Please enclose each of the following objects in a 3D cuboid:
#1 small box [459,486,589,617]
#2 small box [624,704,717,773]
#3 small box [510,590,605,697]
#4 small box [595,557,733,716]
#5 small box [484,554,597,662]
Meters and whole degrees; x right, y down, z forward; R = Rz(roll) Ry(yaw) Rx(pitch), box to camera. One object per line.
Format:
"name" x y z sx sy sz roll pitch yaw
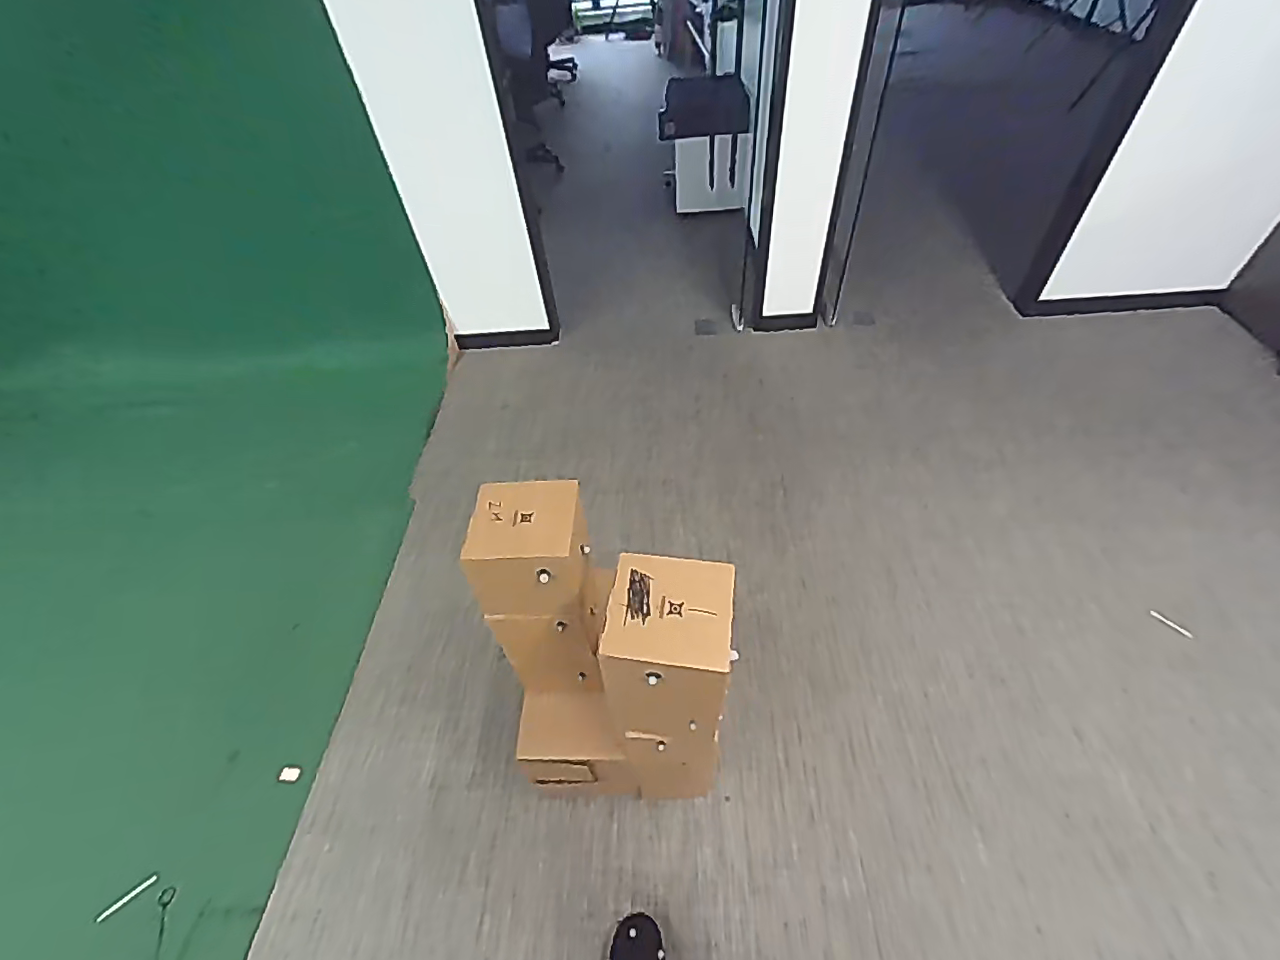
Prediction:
"small box" -0.188 0.127 0.947 0.179 0.176 0.168 -2 45 4
"small box" 0.064 0.452 1.064 0.168 0.176 0.179 1 47 6
"small box" -0.166 0.357 1.178 0.179 0.176 0.168 -4 46 3
"small box" 0.043 0.238 0.814 0.179 0.176 0.168 5 49 8
"small box" -0.185 0.244 1.063 0.179 0.176 0.168 -2 45 2
